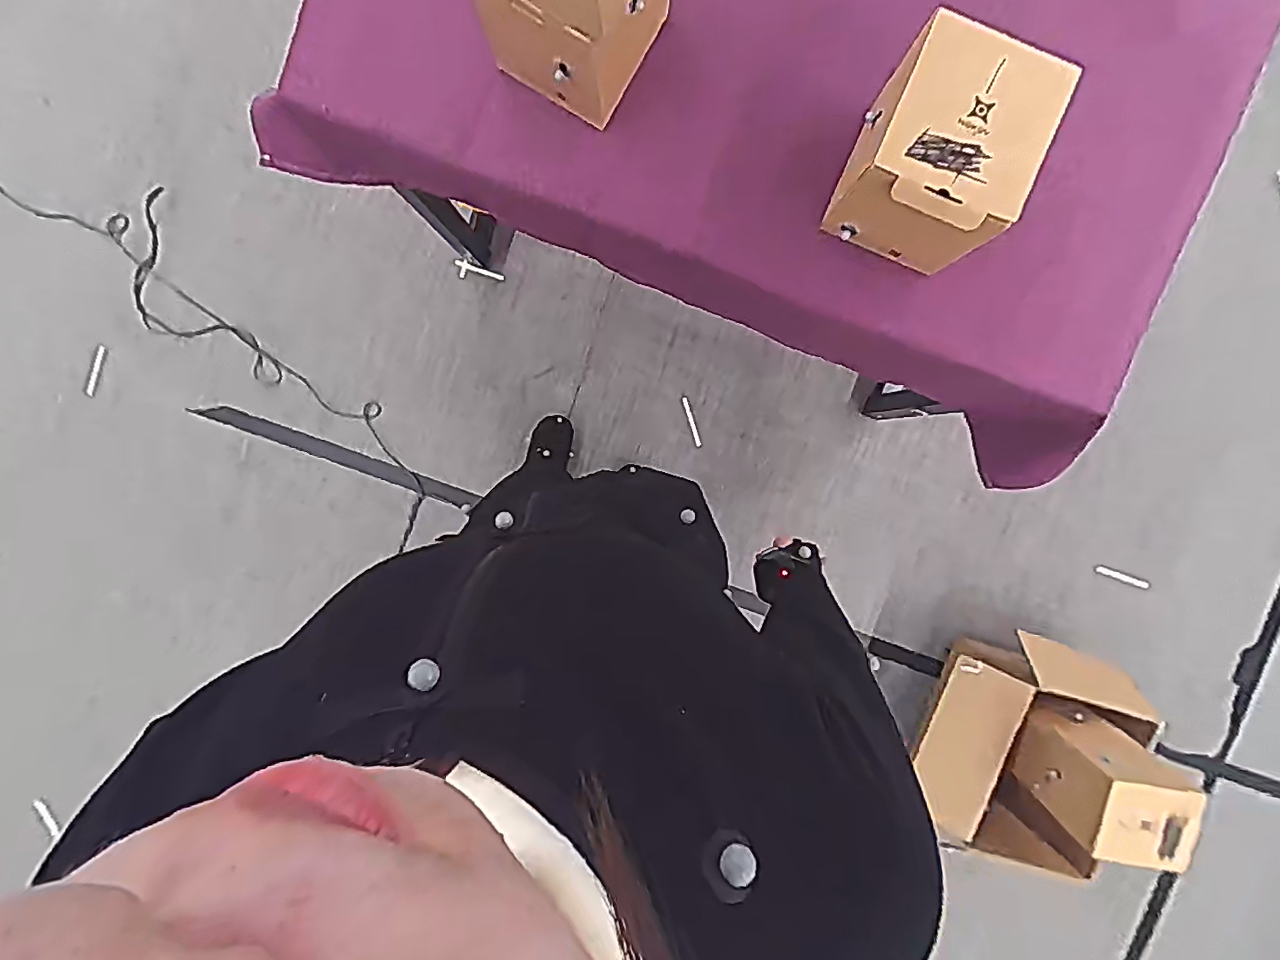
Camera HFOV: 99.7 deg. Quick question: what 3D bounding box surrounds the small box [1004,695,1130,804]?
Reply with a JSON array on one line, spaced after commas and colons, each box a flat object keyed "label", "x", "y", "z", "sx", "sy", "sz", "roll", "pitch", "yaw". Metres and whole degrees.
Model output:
[{"label": "small box", "x": 0.987, "y": 0.621, "z": 1.265, "sx": 0.168, "sy": 0.176, "sz": 0.179, "roll": -2, "pitch": 98, "yaw": 3}]

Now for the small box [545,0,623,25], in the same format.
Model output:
[{"label": "small box", "x": -0.071, "y": -0.562, "z": 0.469, "sx": 0.179, "sy": 0.176, "sz": 0.168, "roll": 32, "pitch": 95, "yaw": -3}]

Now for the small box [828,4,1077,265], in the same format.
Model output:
[{"label": "small box", "x": 0.347, "y": -0.386, "z": 0.643, "sx": 0.168, "sy": 0.176, "sz": 0.179, "roll": 23, "pitch": 93, "yaw": -1}]

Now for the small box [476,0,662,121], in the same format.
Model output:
[{"label": "small box", "x": -0.077, "y": -0.576, "z": 0.632, "sx": 0.168, "sy": 0.176, "sz": 0.179, "roll": 31, "pitch": 94, "yaw": -3}]
